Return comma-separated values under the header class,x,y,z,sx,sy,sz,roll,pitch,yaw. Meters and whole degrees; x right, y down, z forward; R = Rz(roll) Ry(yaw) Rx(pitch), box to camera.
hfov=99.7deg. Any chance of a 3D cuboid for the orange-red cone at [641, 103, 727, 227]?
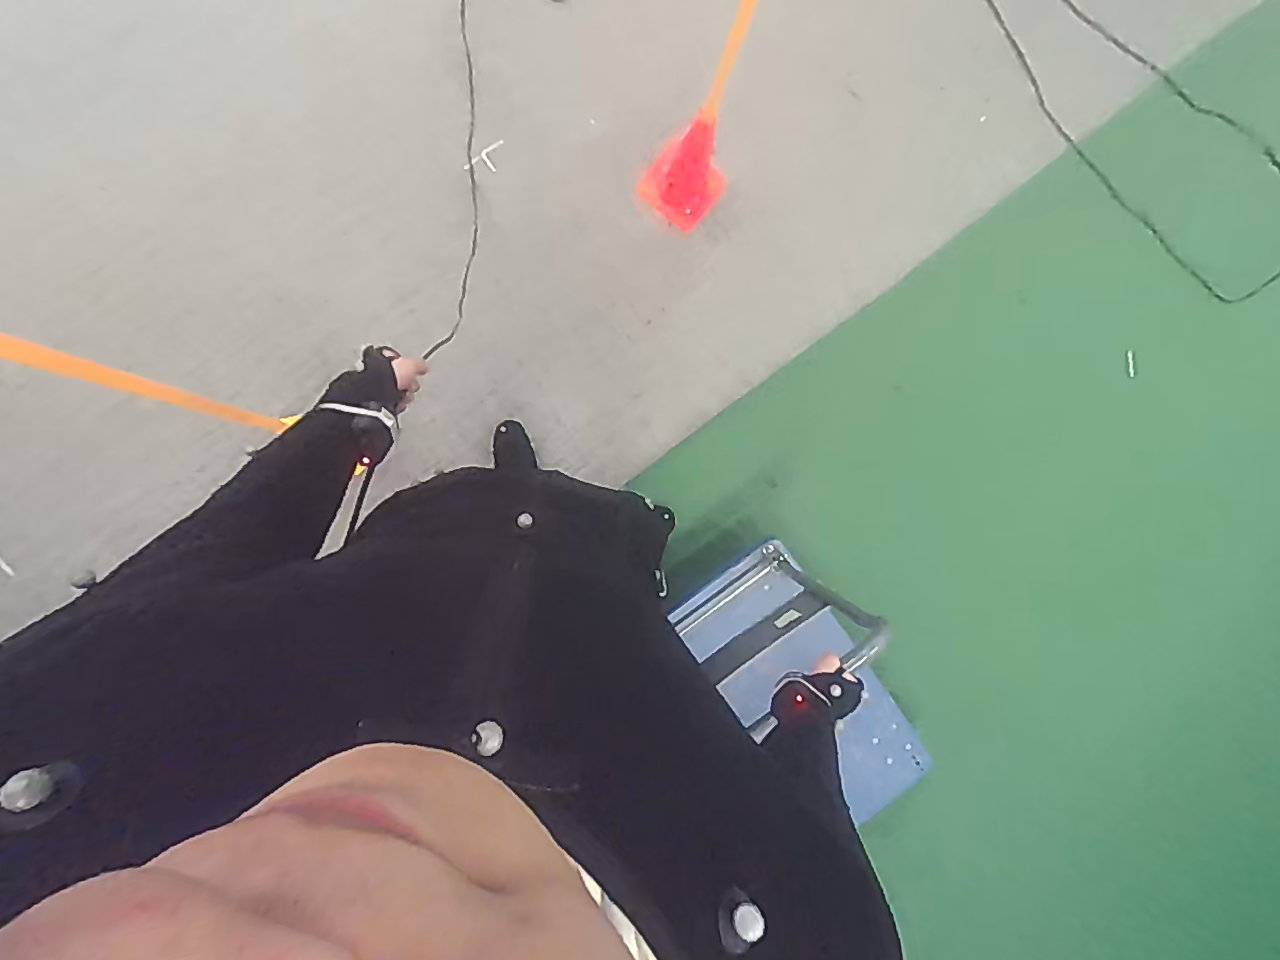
class,x,y,z,sx,sy,sz,roll,pitch,yaw
orange-red cone,0.146,-0.848,1.394,0.198,0.360,0.199,39,89,-8
